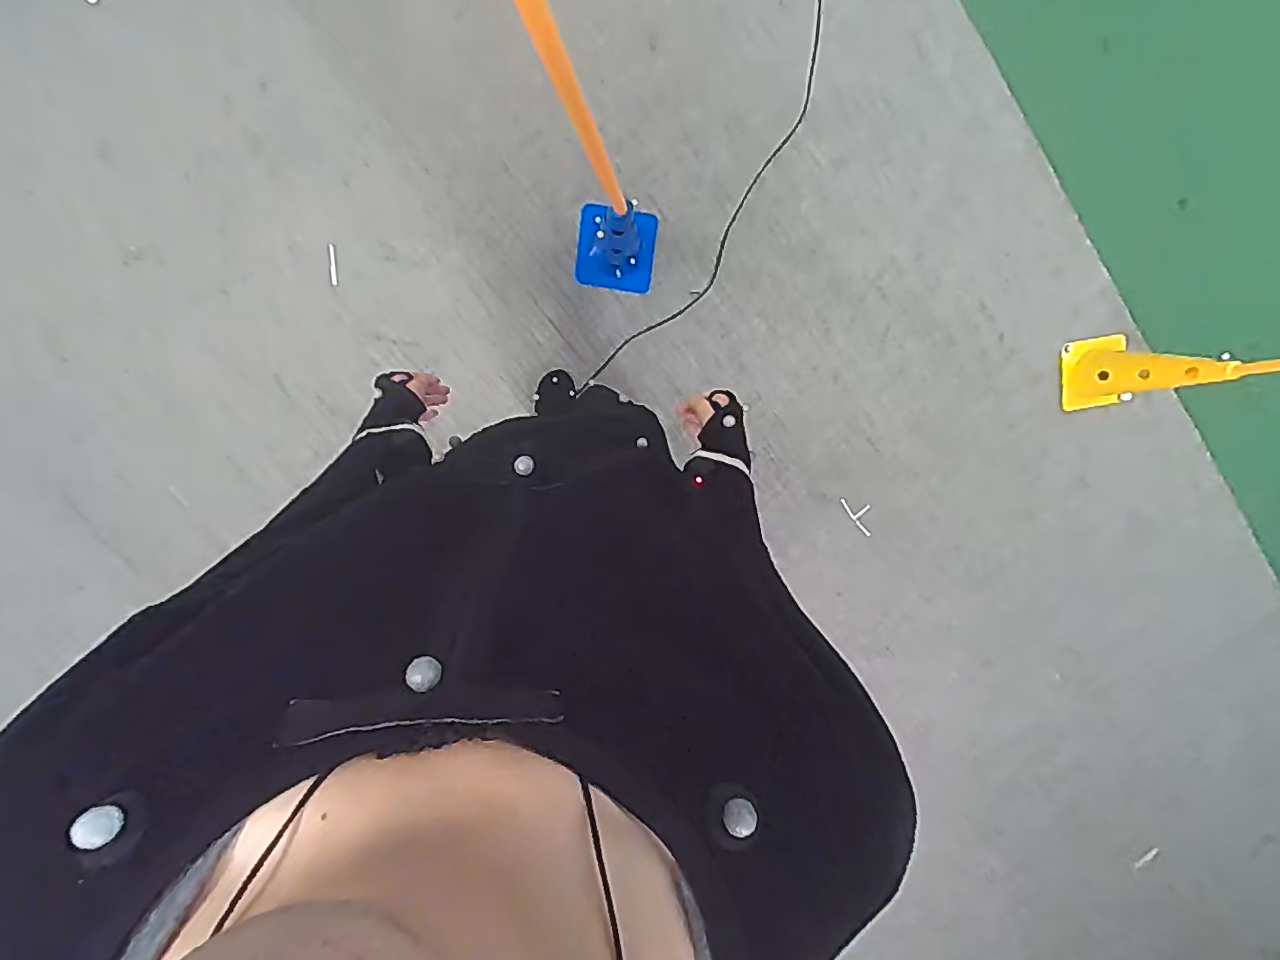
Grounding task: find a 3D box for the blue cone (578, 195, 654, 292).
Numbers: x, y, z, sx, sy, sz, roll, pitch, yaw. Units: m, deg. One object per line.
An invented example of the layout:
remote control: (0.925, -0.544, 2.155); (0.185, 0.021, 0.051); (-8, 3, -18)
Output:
blue cone: (-0.053, -0.555, 1.223); (0.193, 0.380, 0.192); (6, 100, -4)
